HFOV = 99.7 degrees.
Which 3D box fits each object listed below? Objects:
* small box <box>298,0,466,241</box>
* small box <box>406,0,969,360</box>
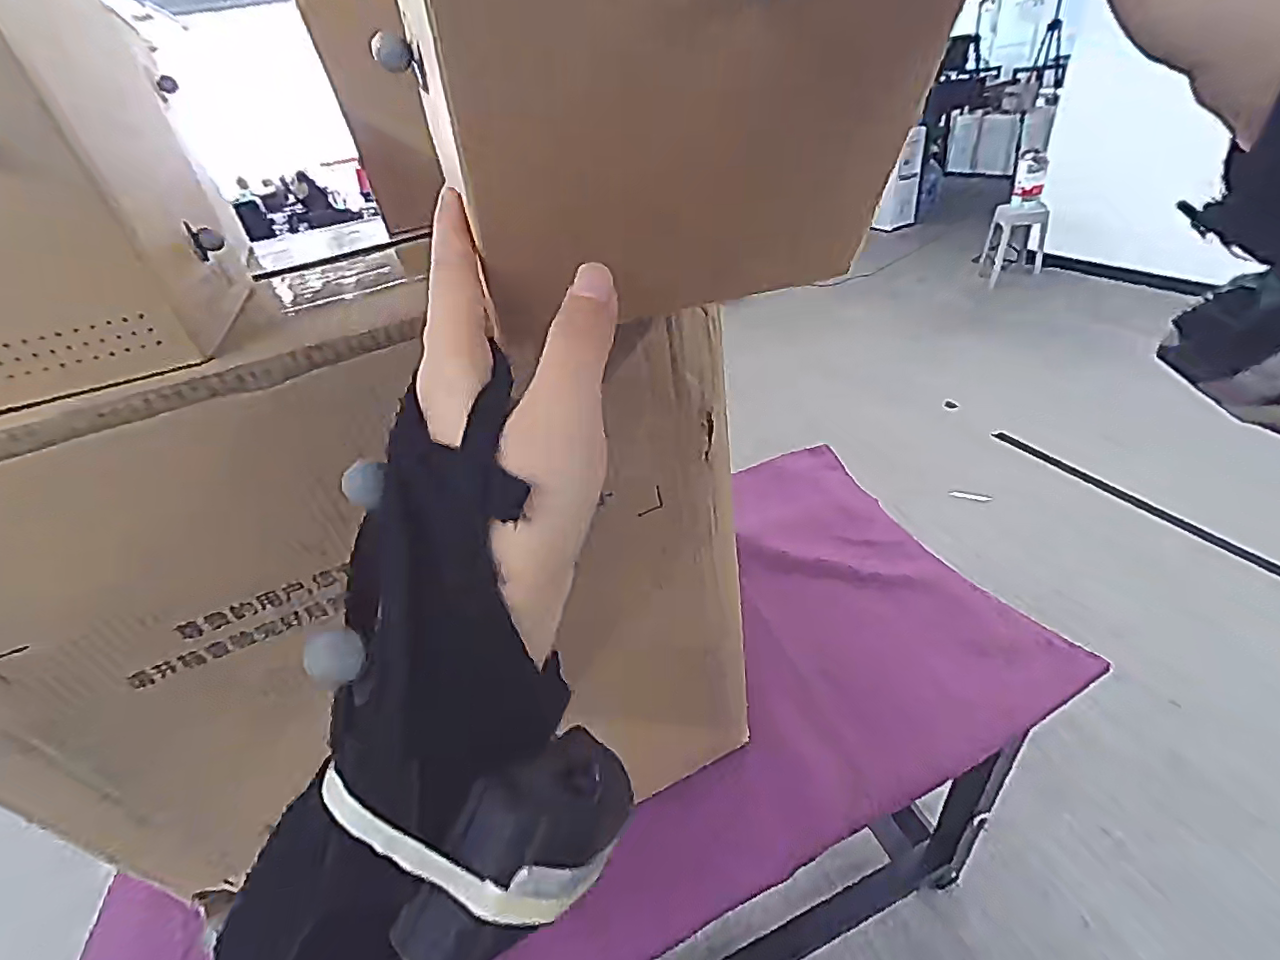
[{"bbox_3d":[-0.168,-0.339,0.498,0.179,0.176,0.168,-19,37,-9],"label":"small box"},{"bbox_3d":[0.002,-0.180,0.207,0.168,0.176,0.179,-15,58,-14],"label":"small box"}]
